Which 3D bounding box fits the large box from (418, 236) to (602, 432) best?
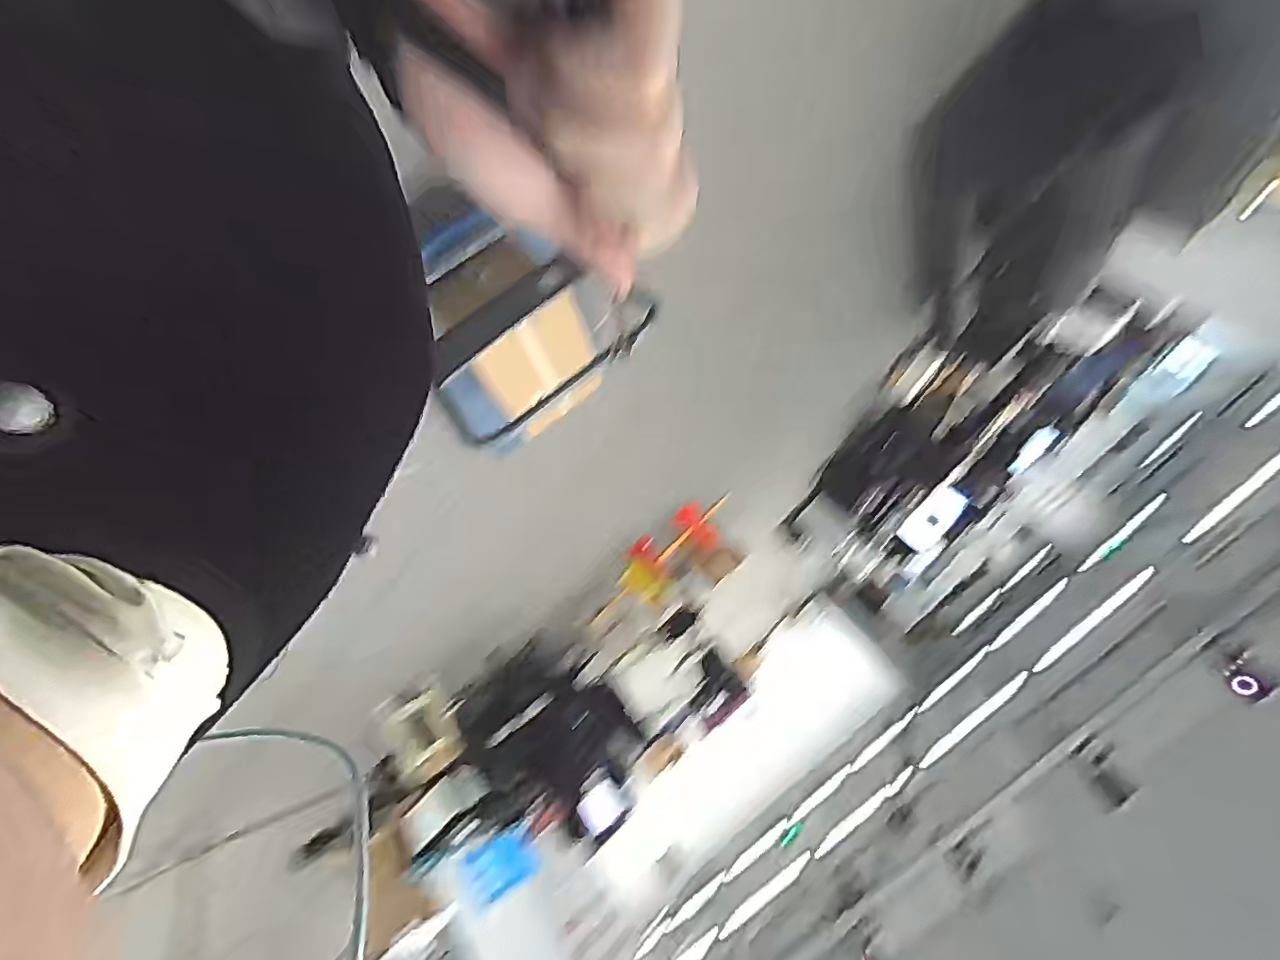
[{"bbox_3d":[-0.371,-0.424,1.610,0.320,0.320,0.408,-39,152,-8],"label":"large box"}]
